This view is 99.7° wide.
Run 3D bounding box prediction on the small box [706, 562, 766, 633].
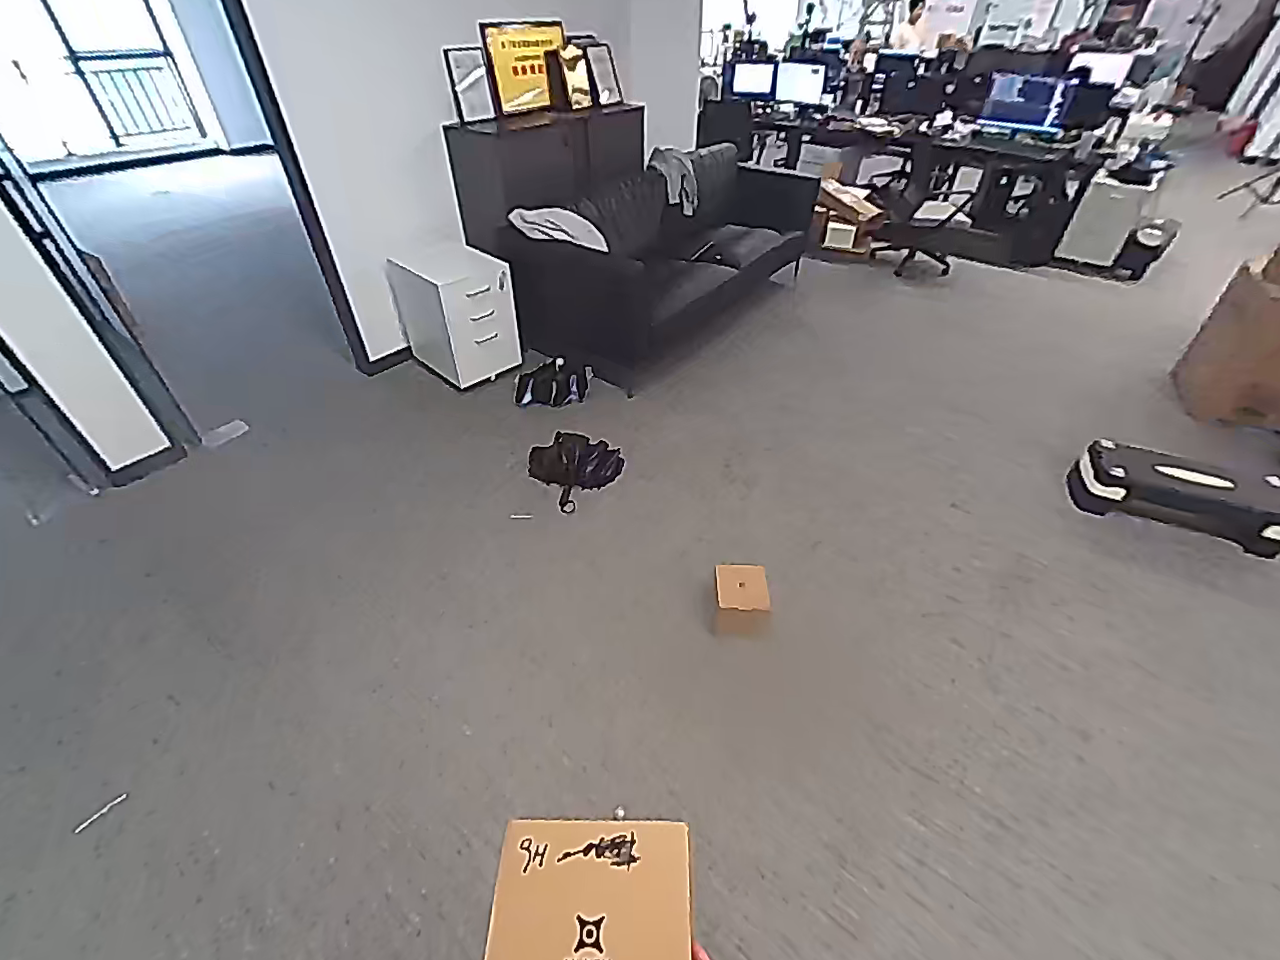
[{"bbox_3d":[0.319,0.399,1.826,0.168,0.176,0.179,2,40,-1],"label":"small box"}]
